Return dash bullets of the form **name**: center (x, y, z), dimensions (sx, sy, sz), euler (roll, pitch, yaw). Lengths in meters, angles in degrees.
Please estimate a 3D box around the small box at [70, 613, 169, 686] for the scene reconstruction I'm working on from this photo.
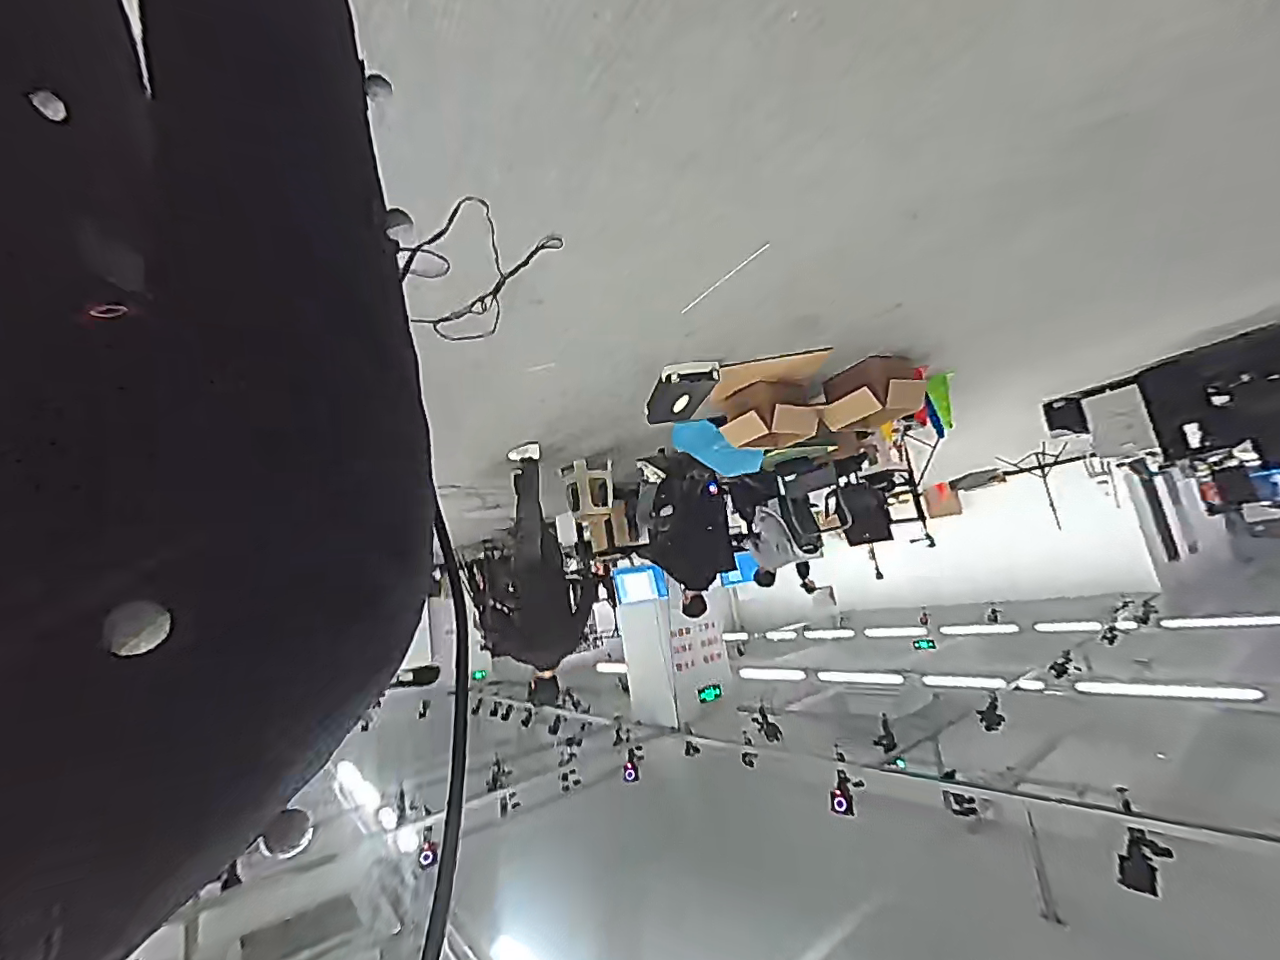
- **small box**: center (-1.474, 0.474, 1.540), dimensions (0.179, 0.176, 0.168), euler (-2, 167, -31)
